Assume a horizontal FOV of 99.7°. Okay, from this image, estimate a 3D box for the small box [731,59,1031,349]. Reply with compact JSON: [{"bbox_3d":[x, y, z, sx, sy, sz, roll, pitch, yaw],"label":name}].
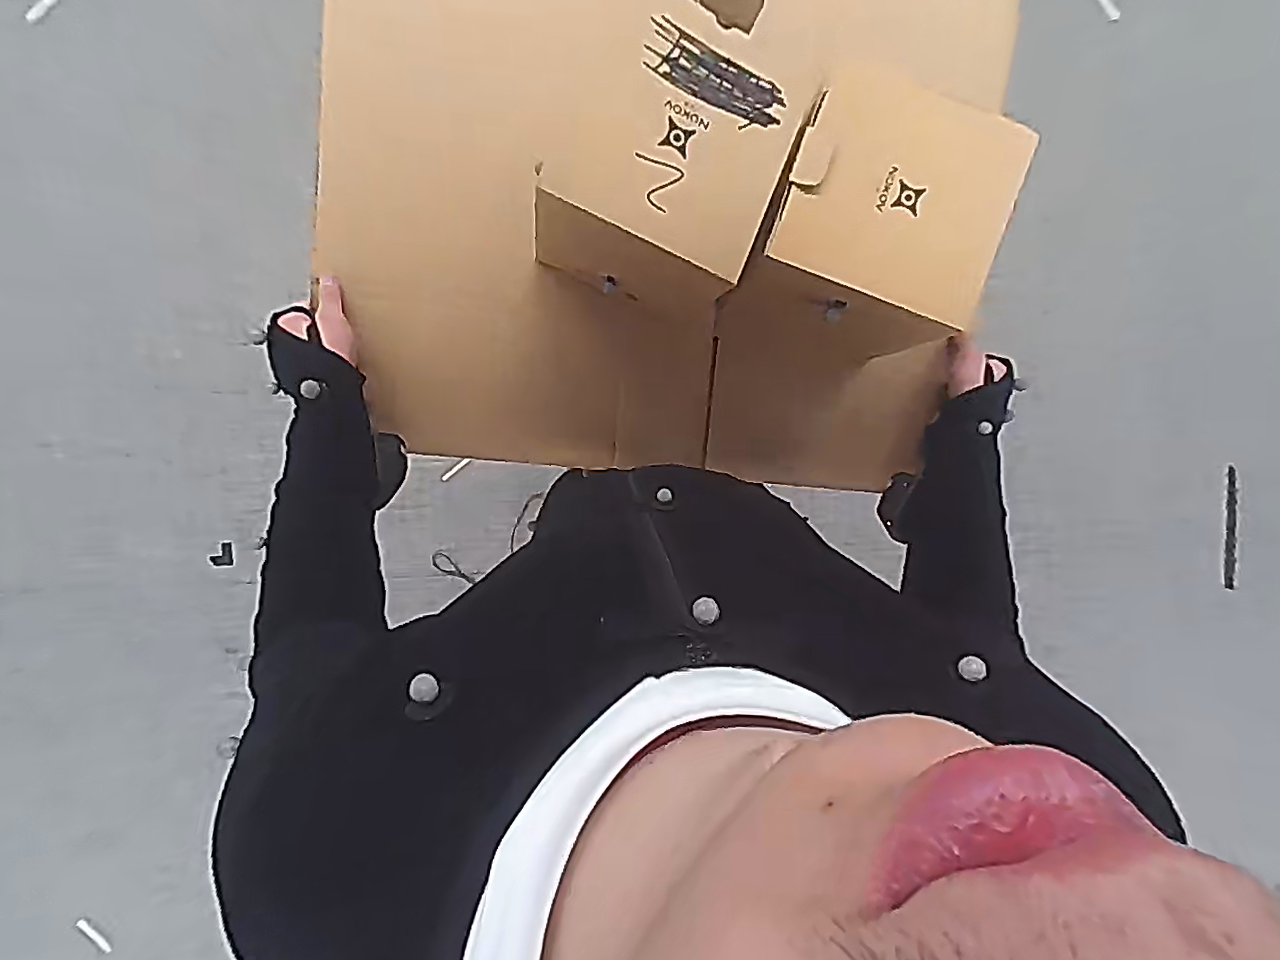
[{"bbox_3d":[0.206,-0.235,0.515,0.179,0.176,0.168,19,93,-3],"label":"small box"}]
